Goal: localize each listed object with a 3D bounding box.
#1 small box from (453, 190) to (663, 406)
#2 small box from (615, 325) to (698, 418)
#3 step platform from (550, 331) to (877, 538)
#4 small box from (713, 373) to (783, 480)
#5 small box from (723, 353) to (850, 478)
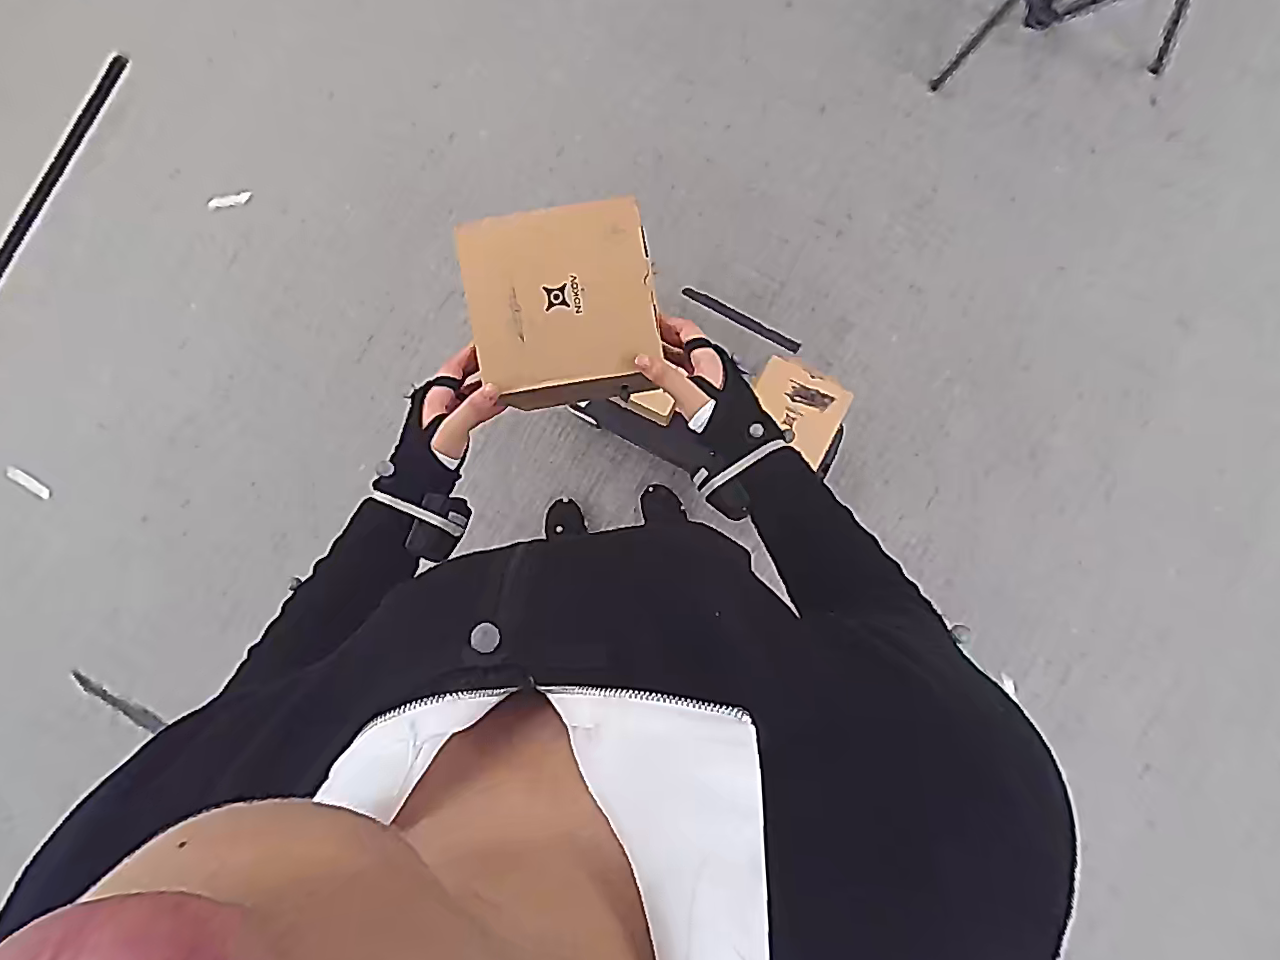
[{"bbox_3d":[-0.077,-0.180,0.588,0.179,0.176,0.168,-11,92,1],"label":"small box"},{"bbox_3d":[0.017,-0.251,1.236,0.179,0.176,0.168,27,90,3],"label":"small box"},{"bbox_3d":[0.137,-0.145,1.191,0.684,0.204,0.286,29,89,3],"label":"step platform"},{"bbox_3d":[0.272,-0.113,1.219,0.168,0.176,0.179,28,90,4],"label":"small box"},{"bbox_3d":[0.273,-0.116,1.055,0.168,0.176,0.179,28,91,4],"label":"small box"}]
